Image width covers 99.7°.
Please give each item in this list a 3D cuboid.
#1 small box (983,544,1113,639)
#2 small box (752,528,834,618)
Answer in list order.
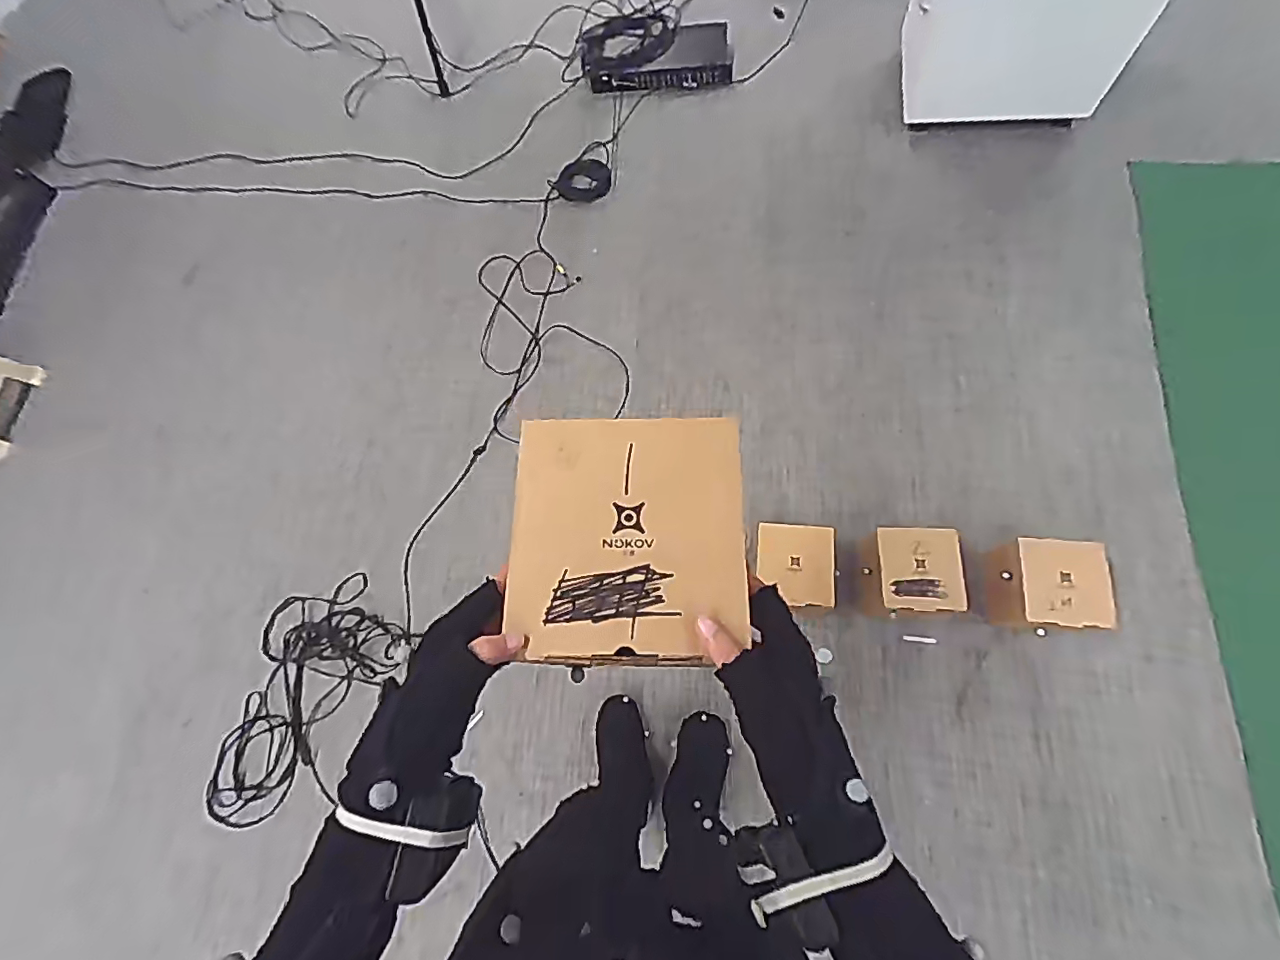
[{"bbox_3d":[0.876,0.247,1.180,0.168,0.176,0.179,3,73,10],"label":"small box"},{"bbox_3d":[0.353,0.221,1.265,0.168,0.176,0.179,3,73,10],"label":"small box"}]
